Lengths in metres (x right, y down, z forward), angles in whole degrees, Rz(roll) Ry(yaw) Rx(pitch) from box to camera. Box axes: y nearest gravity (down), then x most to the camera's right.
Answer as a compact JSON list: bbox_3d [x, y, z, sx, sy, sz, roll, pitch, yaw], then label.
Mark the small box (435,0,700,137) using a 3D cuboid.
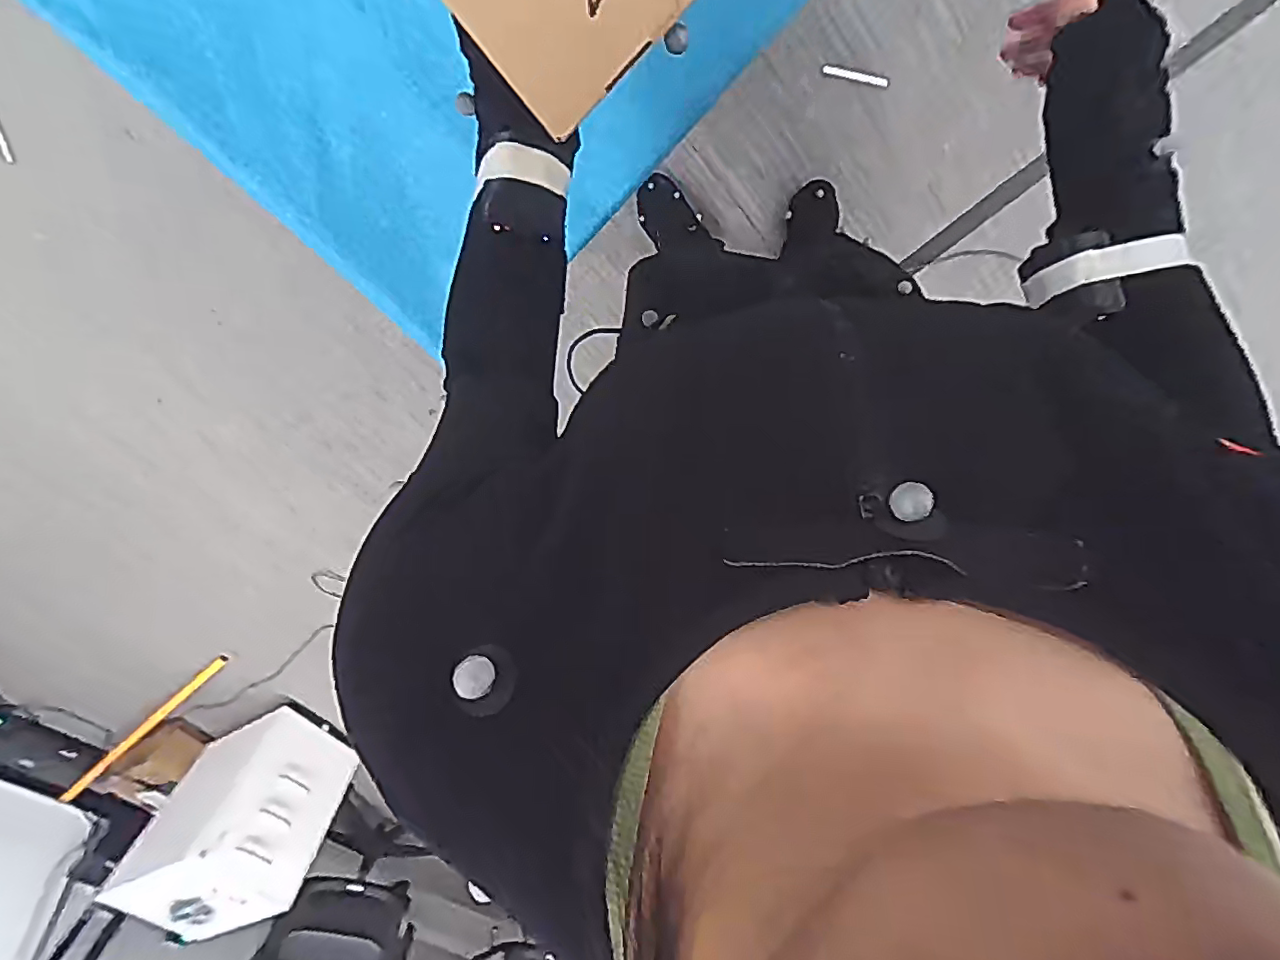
[{"bbox_3d":[-0.038,-0.308,0.257,0.168,0.176,0.179,-31,125,21],"label":"small box"}]
